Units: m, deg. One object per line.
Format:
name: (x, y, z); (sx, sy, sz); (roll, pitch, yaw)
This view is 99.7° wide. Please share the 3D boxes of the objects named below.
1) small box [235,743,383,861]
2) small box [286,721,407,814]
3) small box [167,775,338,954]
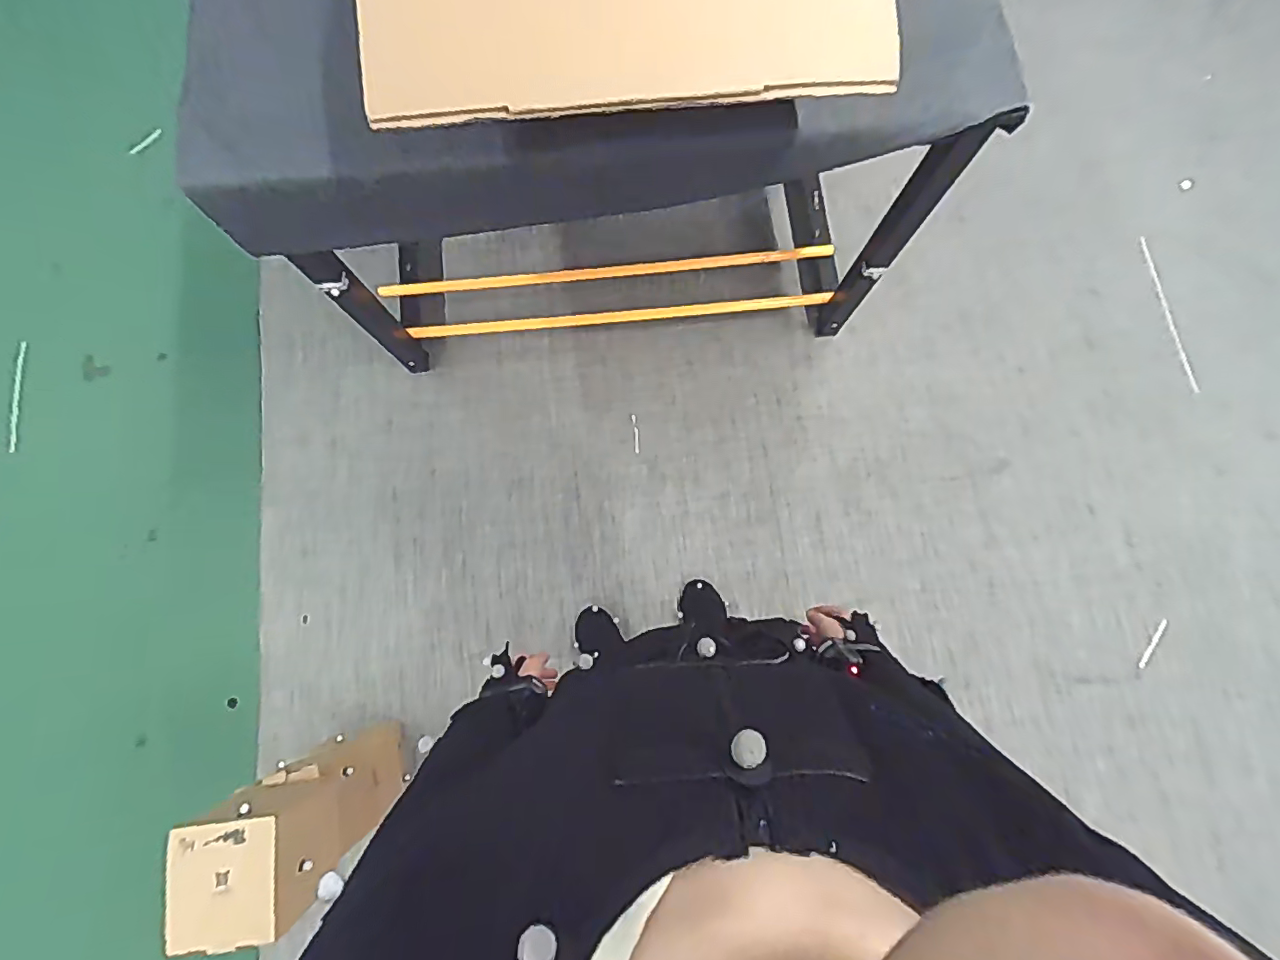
small box: (-0.632, 0.633, 1.047); (0.168, 0.176, 0.179); (-19, 80, -2)
small box: (-0.642, 0.659, 1.207); (0.179, 0.176, 0.168); (-16, 79, -2)
small box: (-0.618, 0.613, 0.883); (0.168, 0.176, 0.179); (-7, 81, -1)
